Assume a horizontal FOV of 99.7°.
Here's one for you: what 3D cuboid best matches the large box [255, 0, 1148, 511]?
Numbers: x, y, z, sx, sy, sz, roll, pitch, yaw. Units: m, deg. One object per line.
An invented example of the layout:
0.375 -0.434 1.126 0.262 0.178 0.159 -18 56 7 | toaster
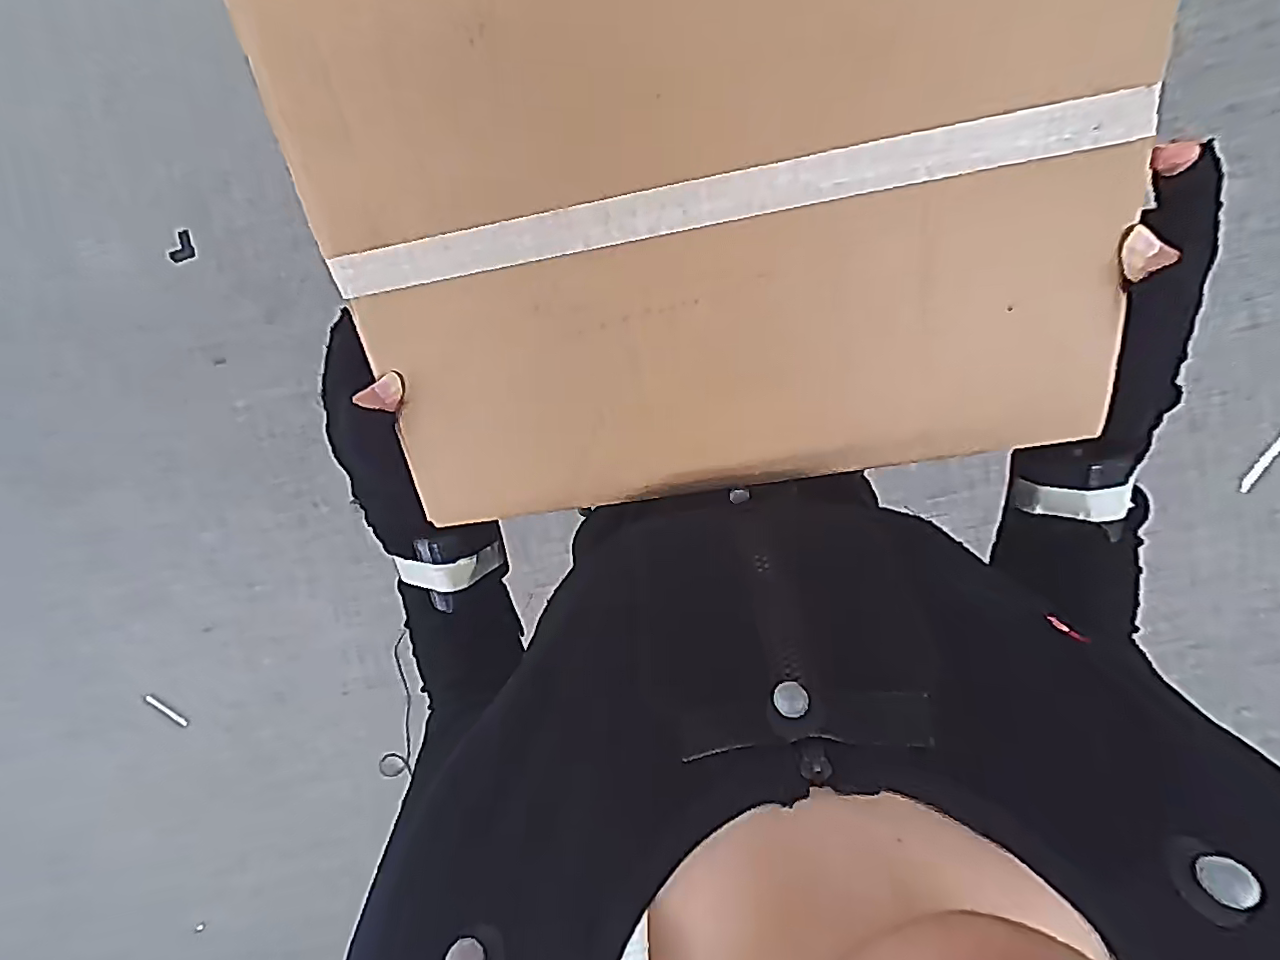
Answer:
0.041 -0.205 0.415 0.408 0.320 0.320 -8 115 7 | large box
